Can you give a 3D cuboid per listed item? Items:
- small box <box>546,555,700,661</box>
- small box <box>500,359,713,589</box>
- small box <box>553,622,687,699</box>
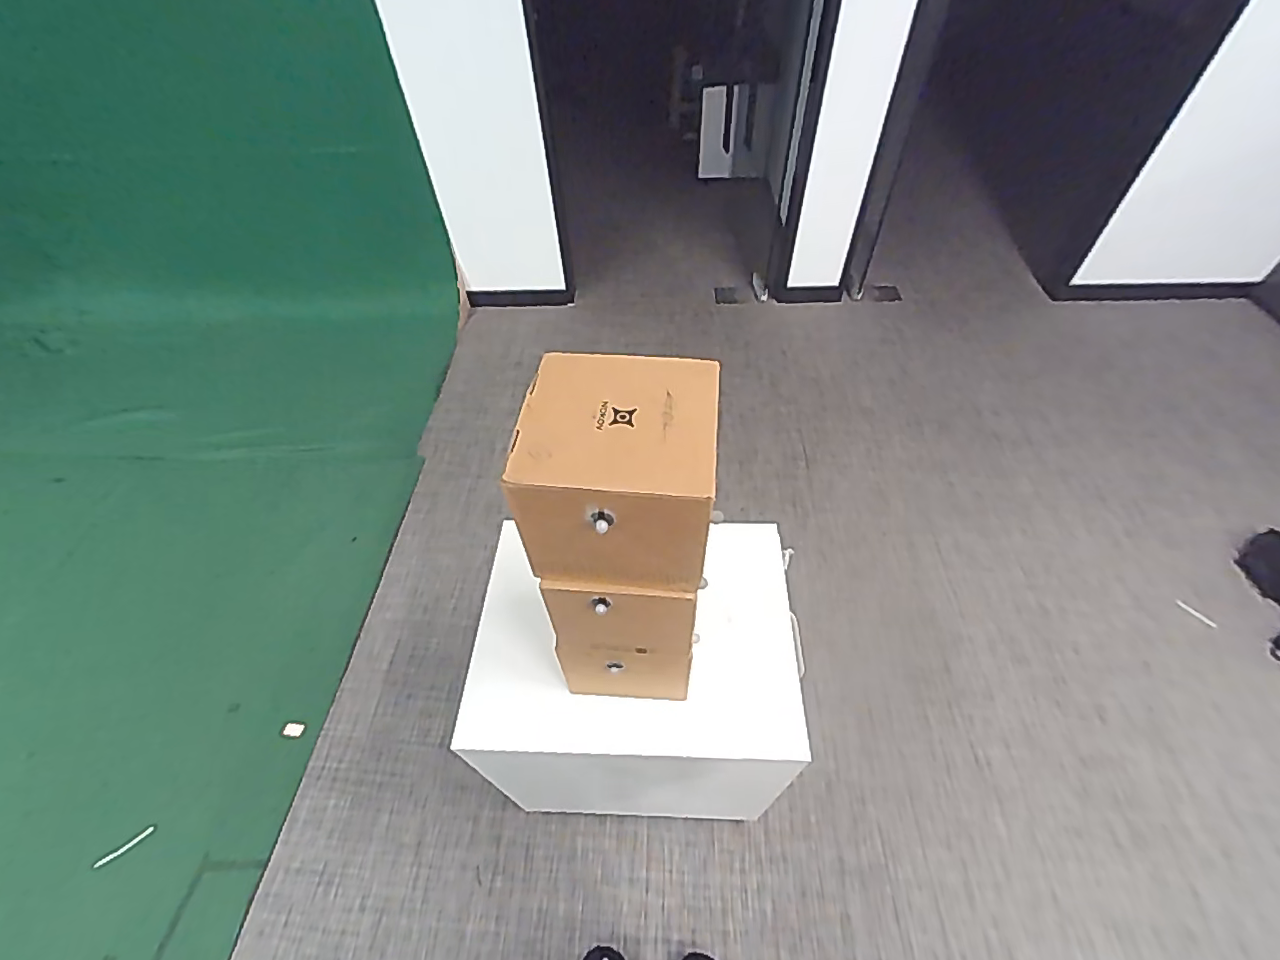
[{"bbox_3d":[-0.015,0.107,0.677,0.168,0.176,0.179,2,51,2],"label":"small box"},{"bbox_3d":[-0.021,-0.002,0.553,0.179,0.176,0.168,4,52,4],"label":"small box"},{"bbox_3d":[-0.018,0.212,0.798,0.179,0.176,0.168,3,50,4],"label":"small box"}]
